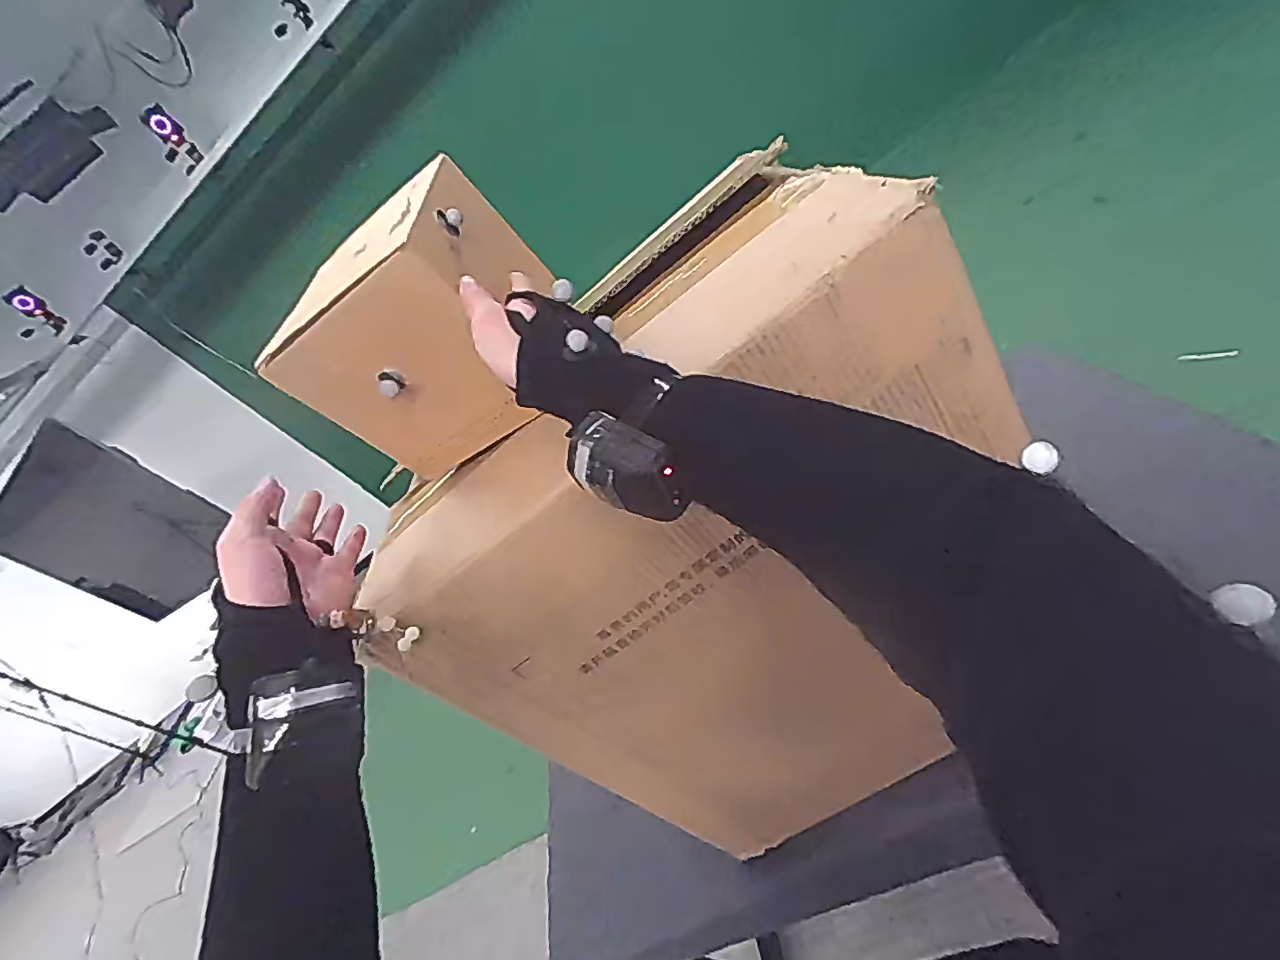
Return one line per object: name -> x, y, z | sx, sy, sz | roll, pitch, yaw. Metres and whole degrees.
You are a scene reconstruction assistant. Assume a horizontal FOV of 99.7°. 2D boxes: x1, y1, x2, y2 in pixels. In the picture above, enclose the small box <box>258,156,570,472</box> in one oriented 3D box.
small box -> -0.185, -0.135, 0.487 | 0.179, 0.176, 0.168 | -27, 45, 23
